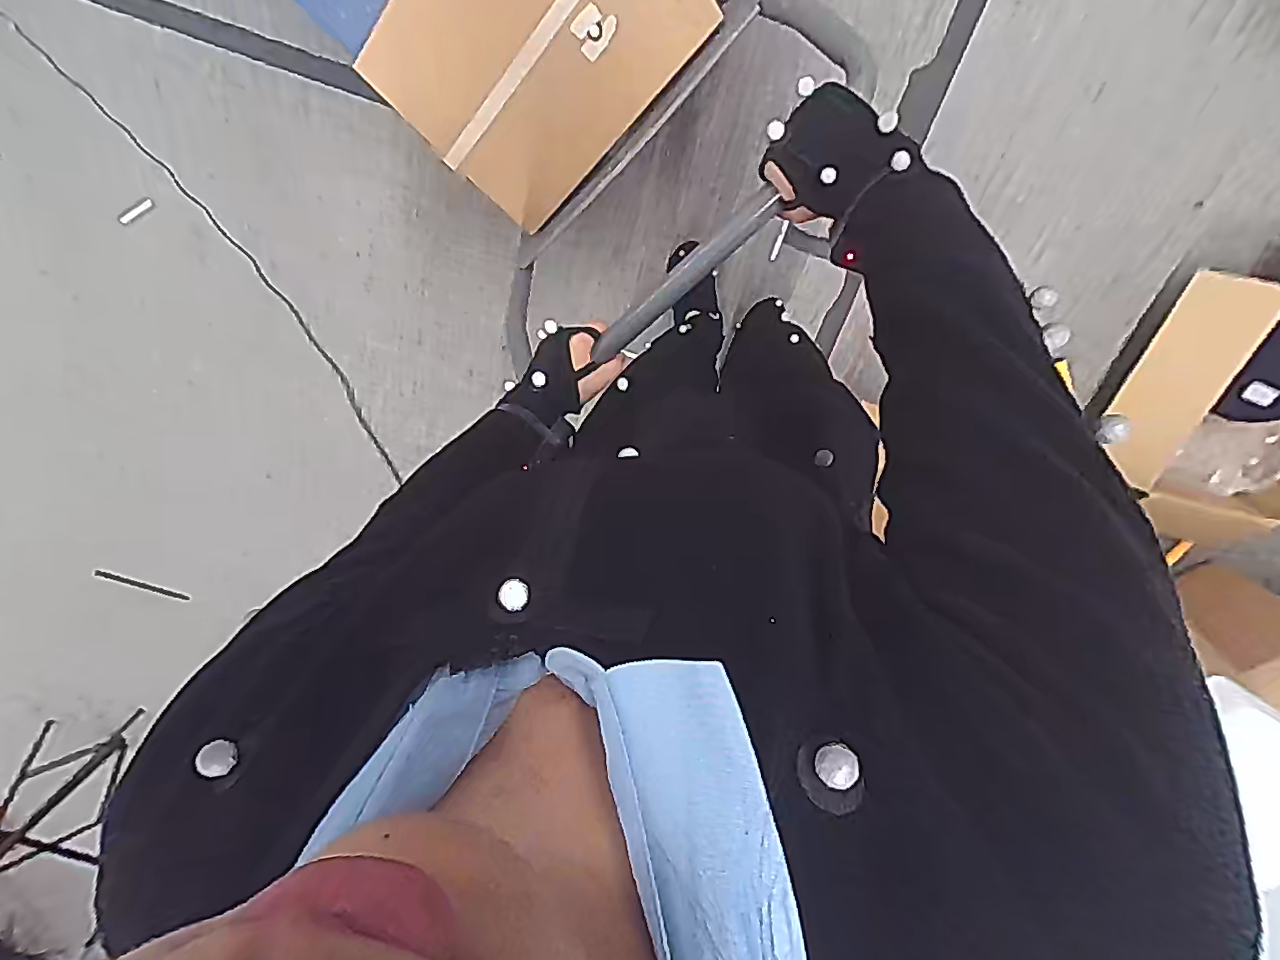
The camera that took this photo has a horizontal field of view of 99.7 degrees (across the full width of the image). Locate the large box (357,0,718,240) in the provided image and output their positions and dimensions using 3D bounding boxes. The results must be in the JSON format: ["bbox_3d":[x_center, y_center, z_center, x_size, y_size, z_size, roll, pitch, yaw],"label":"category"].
[{"bbox_3d":[-0.148,-0.669,0.828,0.408,0.320,0.320,-37,125,25],"label":"large box"}]
